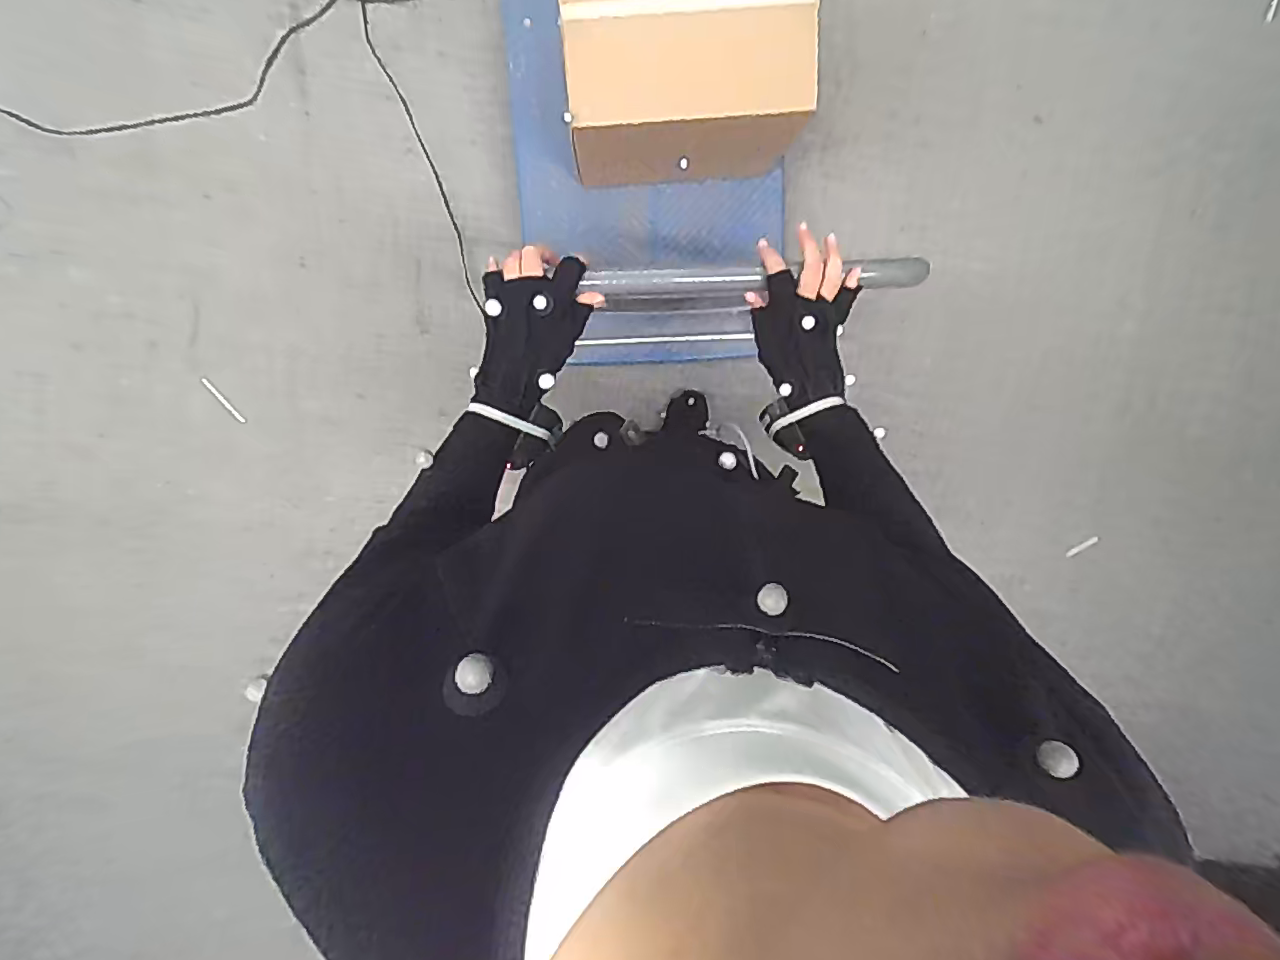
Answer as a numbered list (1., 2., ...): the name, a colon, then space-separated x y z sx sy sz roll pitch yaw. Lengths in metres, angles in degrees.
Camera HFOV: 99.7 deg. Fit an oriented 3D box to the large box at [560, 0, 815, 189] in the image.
1. large box: 0.073 -0.766 1.001 0.408 0.320 0.320 -6 101 -1
